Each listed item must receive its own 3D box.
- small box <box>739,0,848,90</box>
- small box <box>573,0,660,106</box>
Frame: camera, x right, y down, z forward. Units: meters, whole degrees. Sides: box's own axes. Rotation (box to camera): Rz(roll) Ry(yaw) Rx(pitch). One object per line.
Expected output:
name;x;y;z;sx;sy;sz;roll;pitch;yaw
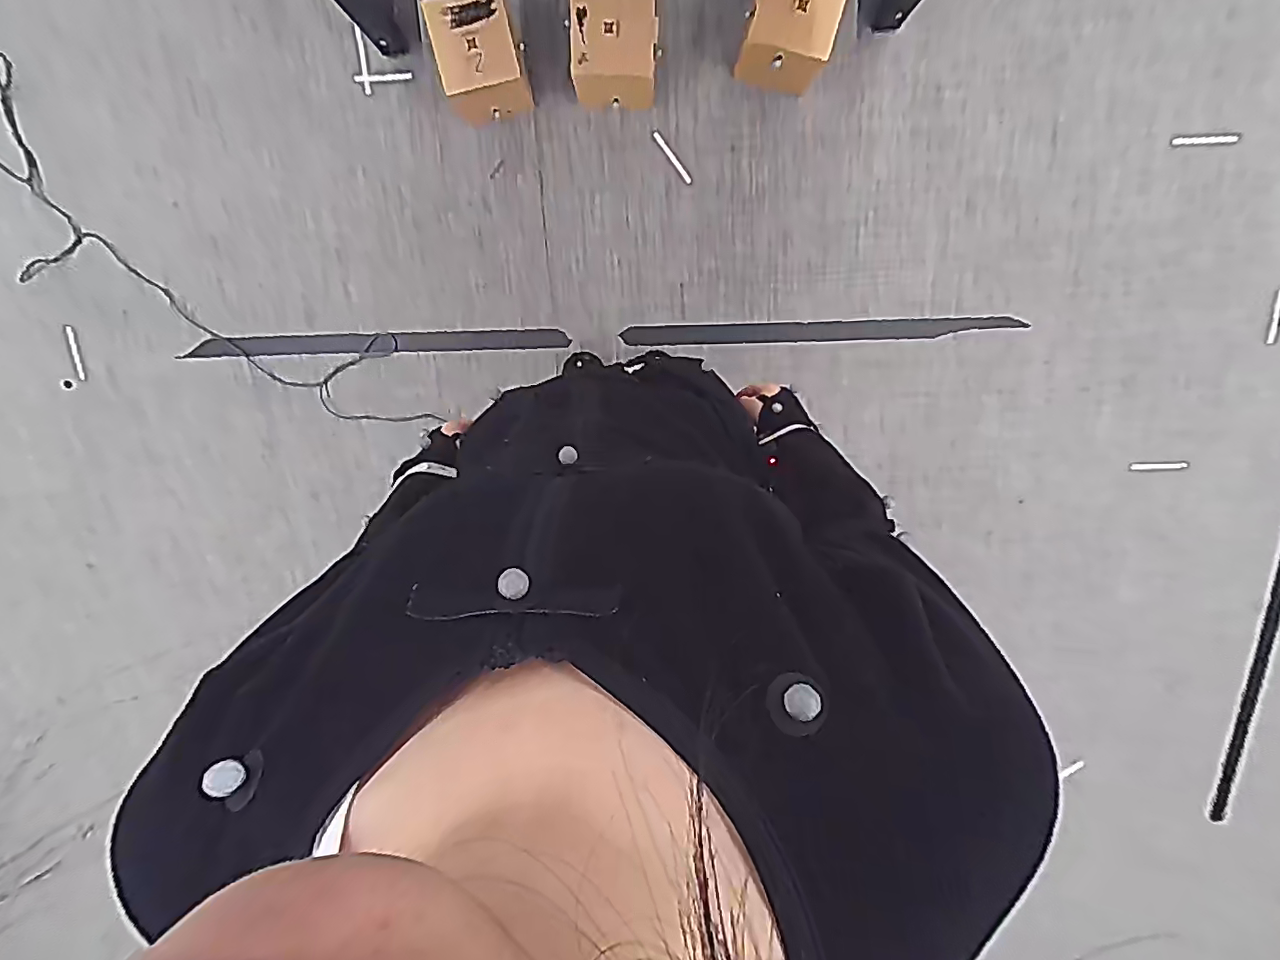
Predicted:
small box;0.328;-0.979;1.164;0.179;0.176;0.168;15;105;-2
small box;-0.050;-0.940;1.176;0.179;0.176;0.168;2;105;0
